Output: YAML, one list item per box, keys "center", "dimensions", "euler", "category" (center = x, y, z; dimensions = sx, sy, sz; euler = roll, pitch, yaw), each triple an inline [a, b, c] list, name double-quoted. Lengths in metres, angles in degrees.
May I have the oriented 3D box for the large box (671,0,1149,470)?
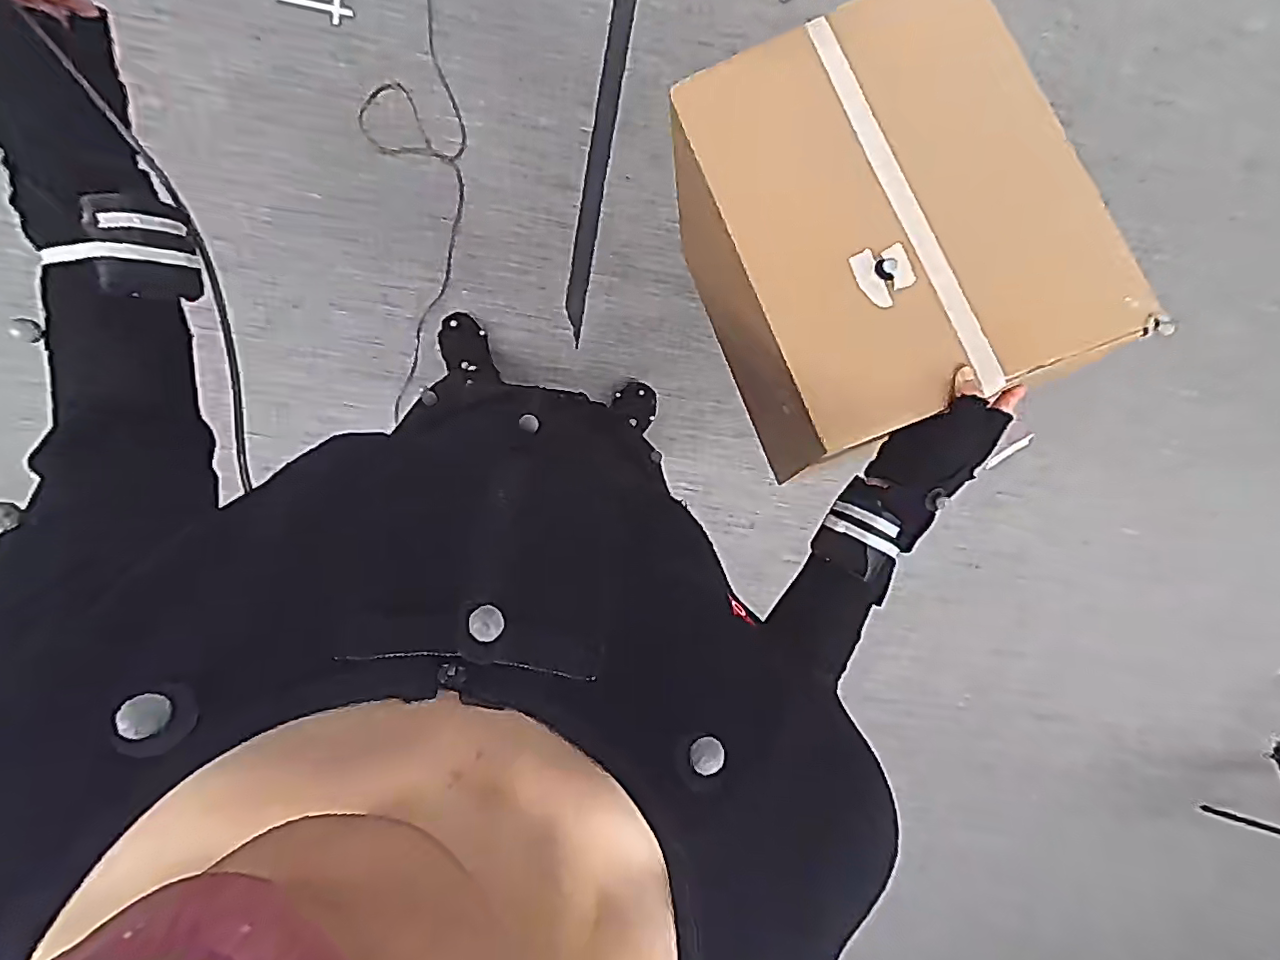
- center: [0.258, -0.262, 0.664]
  dimensions: [0.320, 0.320, 0.408]
  euler: [-22, 83, 5]
  category: "large box"
